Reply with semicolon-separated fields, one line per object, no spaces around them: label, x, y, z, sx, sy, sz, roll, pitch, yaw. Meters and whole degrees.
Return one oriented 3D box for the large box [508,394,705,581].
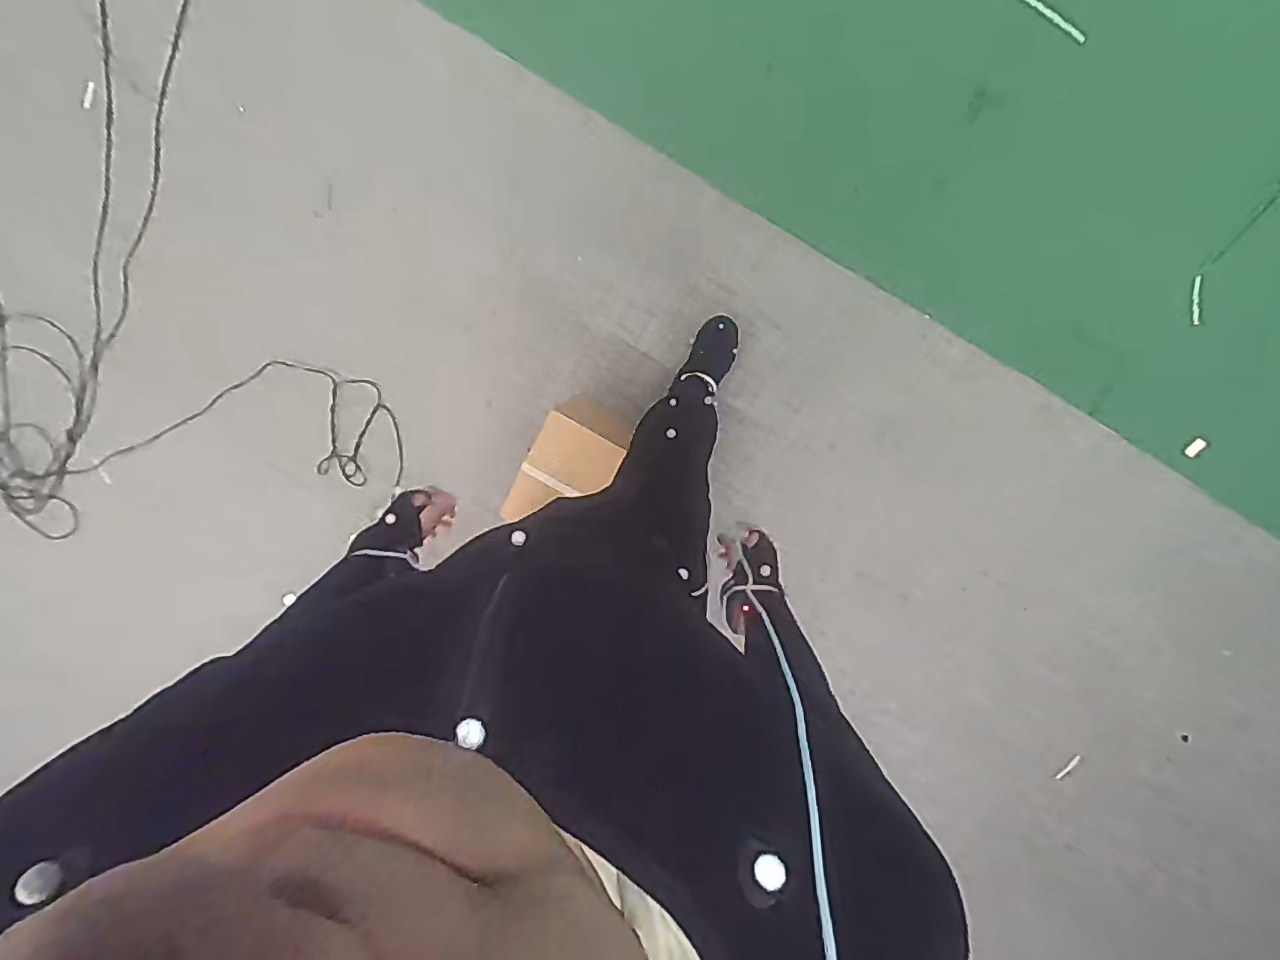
large box;-0.077;0.001;1.462;0.408;0.320;0.320;28;106;-3
